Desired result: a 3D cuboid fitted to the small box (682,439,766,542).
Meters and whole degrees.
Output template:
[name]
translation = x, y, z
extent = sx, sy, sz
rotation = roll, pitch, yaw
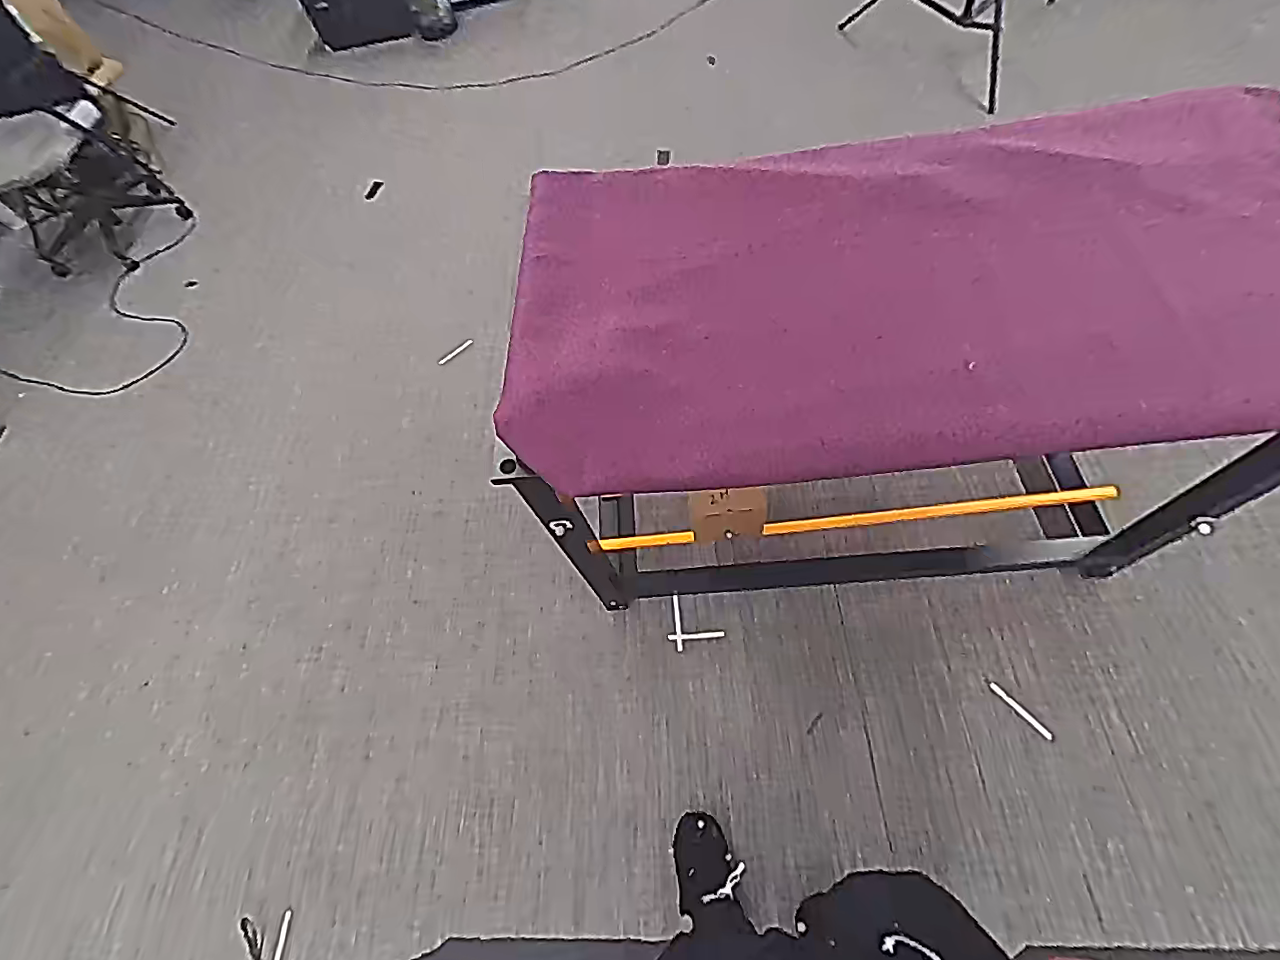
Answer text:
[small box]
translation = 0.192, 0.027, 1.264
extent = 0.168, 0.176, 0.179
rotation = -8, 63, 4
